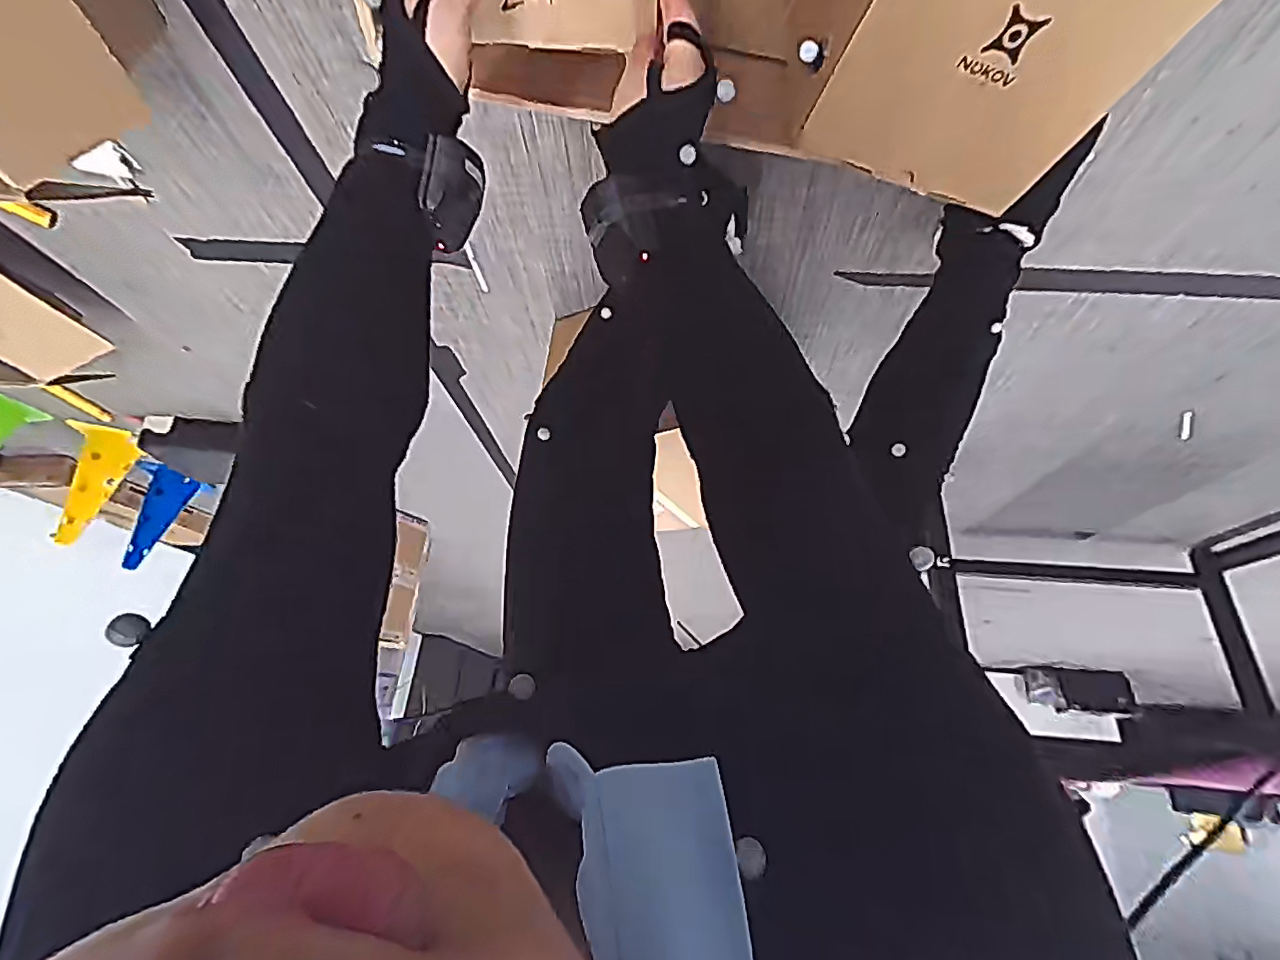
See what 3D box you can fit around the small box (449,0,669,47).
[{"bbox_3d":[-0.055,-0.456,0.384,0.168,0.176,0.179,6,155,3],"label":"small box"}]
